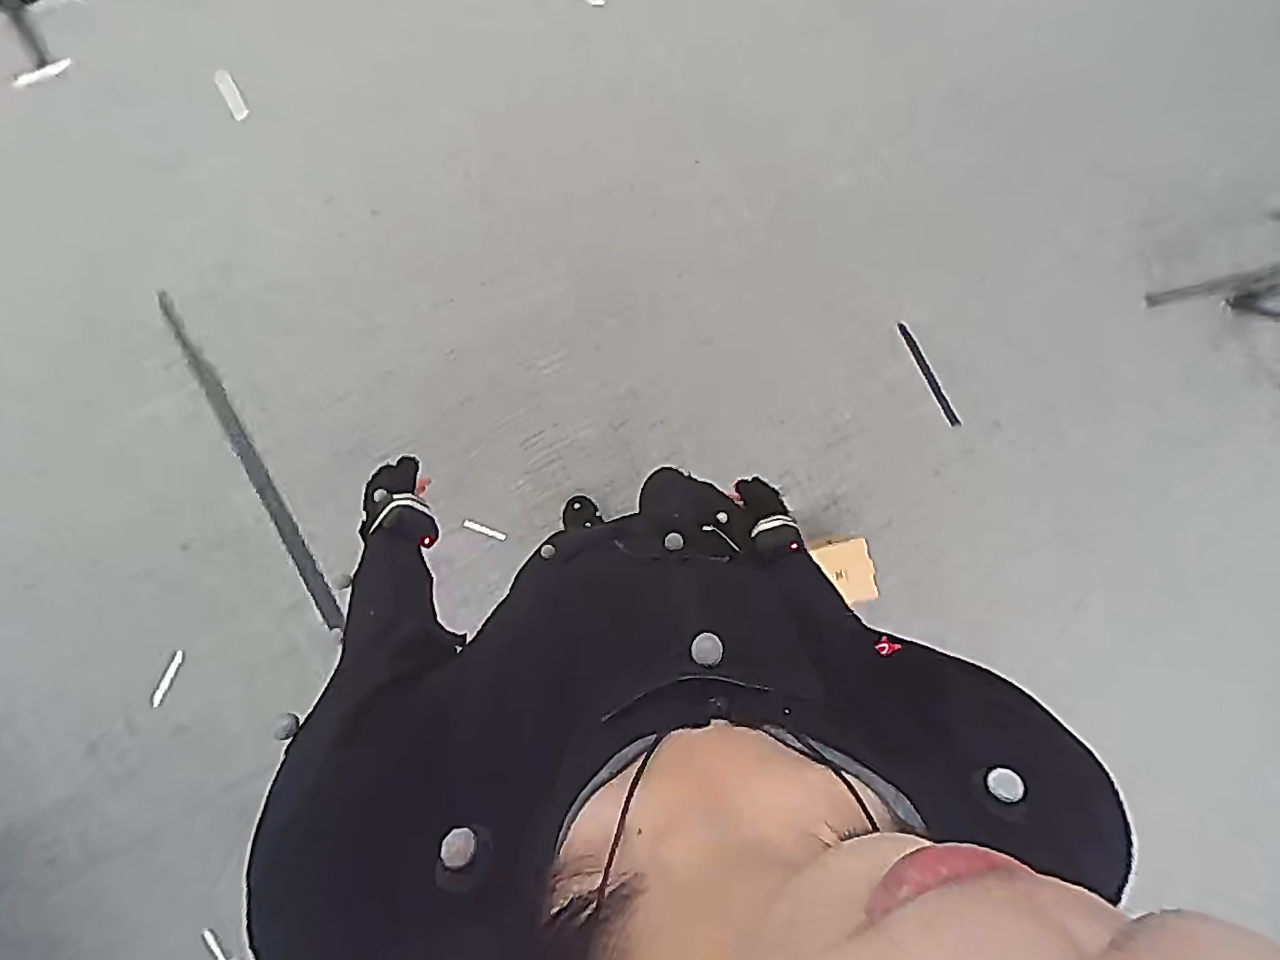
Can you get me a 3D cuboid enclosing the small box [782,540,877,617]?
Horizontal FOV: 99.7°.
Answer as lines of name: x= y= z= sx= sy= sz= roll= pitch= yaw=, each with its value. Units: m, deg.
small box: x=0.522 y=0.267 z=1.509 sx=0.179 sy=0.176 sz=0.168 roll=-12 pitch=89 yaw=-8
